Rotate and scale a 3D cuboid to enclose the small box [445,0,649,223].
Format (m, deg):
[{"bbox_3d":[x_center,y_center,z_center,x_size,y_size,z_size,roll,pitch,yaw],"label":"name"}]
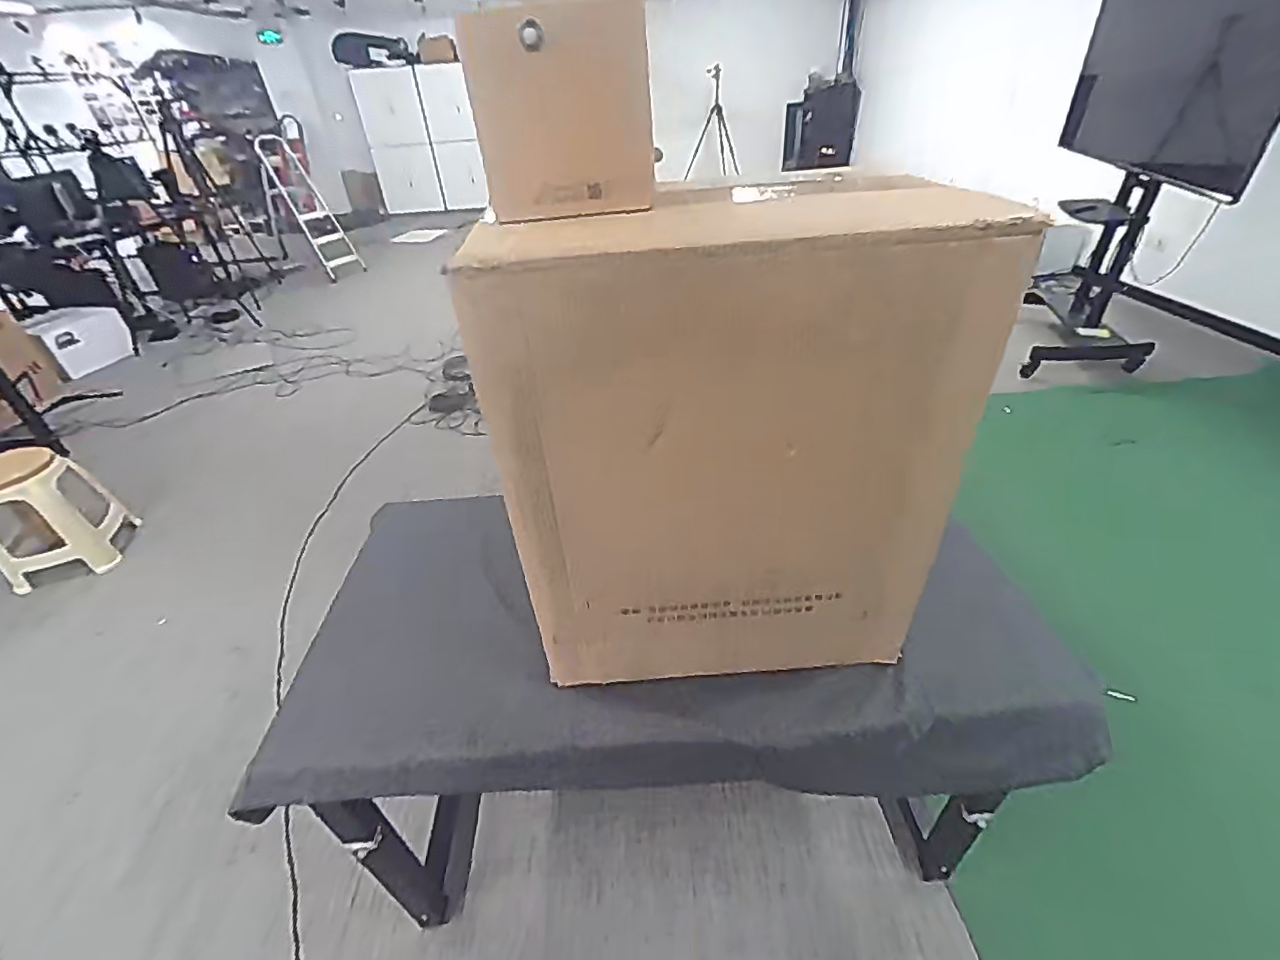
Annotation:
[{"bbox_3d":[-0.082,-0.379,0.567,0.168,0.176,0.179,-7,37,0],"label":"small box"}]
